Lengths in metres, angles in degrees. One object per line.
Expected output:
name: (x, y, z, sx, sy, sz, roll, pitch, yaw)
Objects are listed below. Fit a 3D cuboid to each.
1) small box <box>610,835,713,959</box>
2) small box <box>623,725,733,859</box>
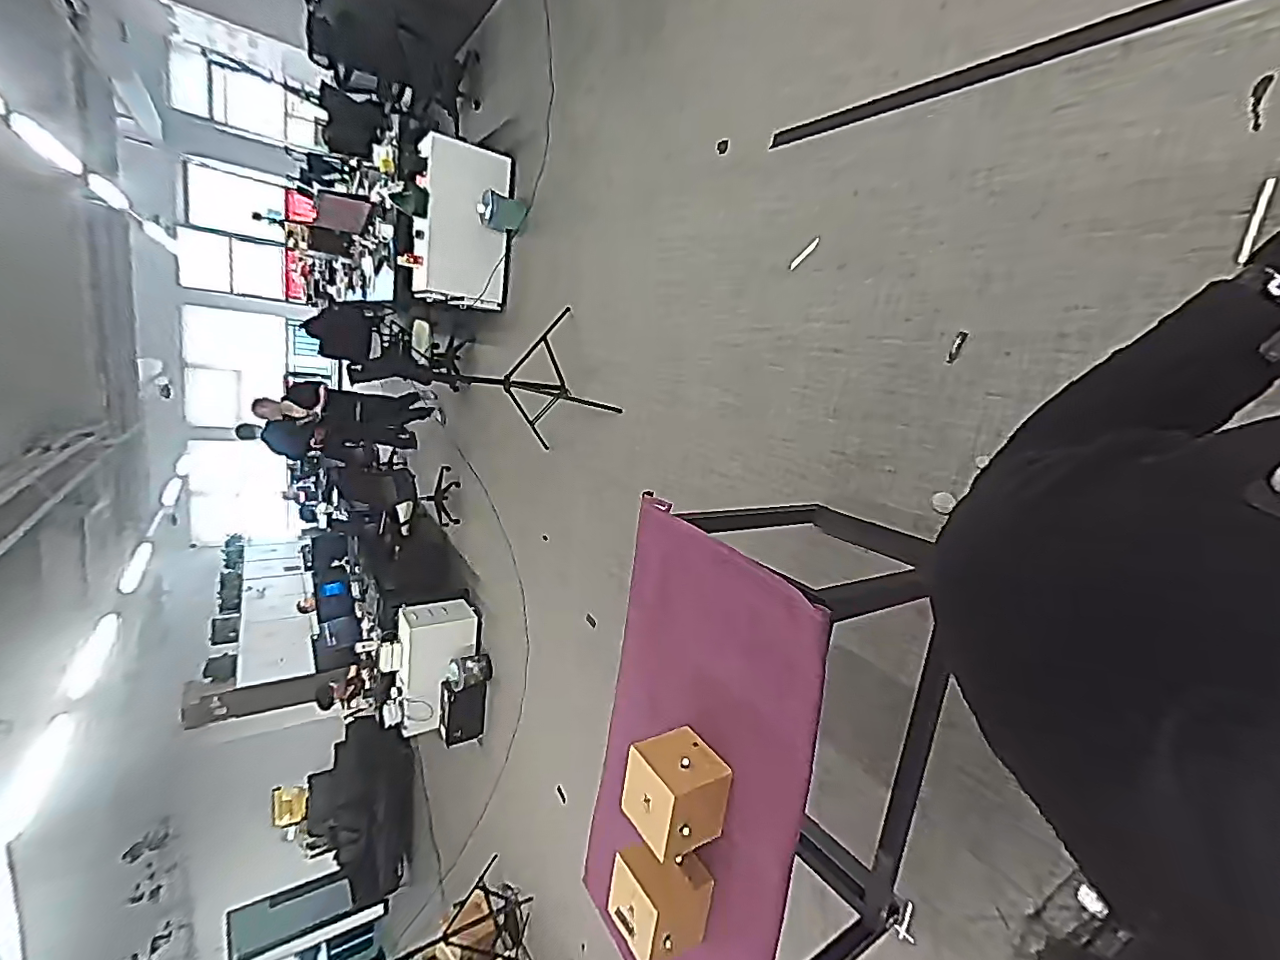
small box: (0.051, 0.963, 1.268, 0.168, 0.176, 0.179, 24, 110, 52)
small box: (0.086, 0.686, 1.213, 0.168, 0.176, 0.179, 25, 111, 53)
